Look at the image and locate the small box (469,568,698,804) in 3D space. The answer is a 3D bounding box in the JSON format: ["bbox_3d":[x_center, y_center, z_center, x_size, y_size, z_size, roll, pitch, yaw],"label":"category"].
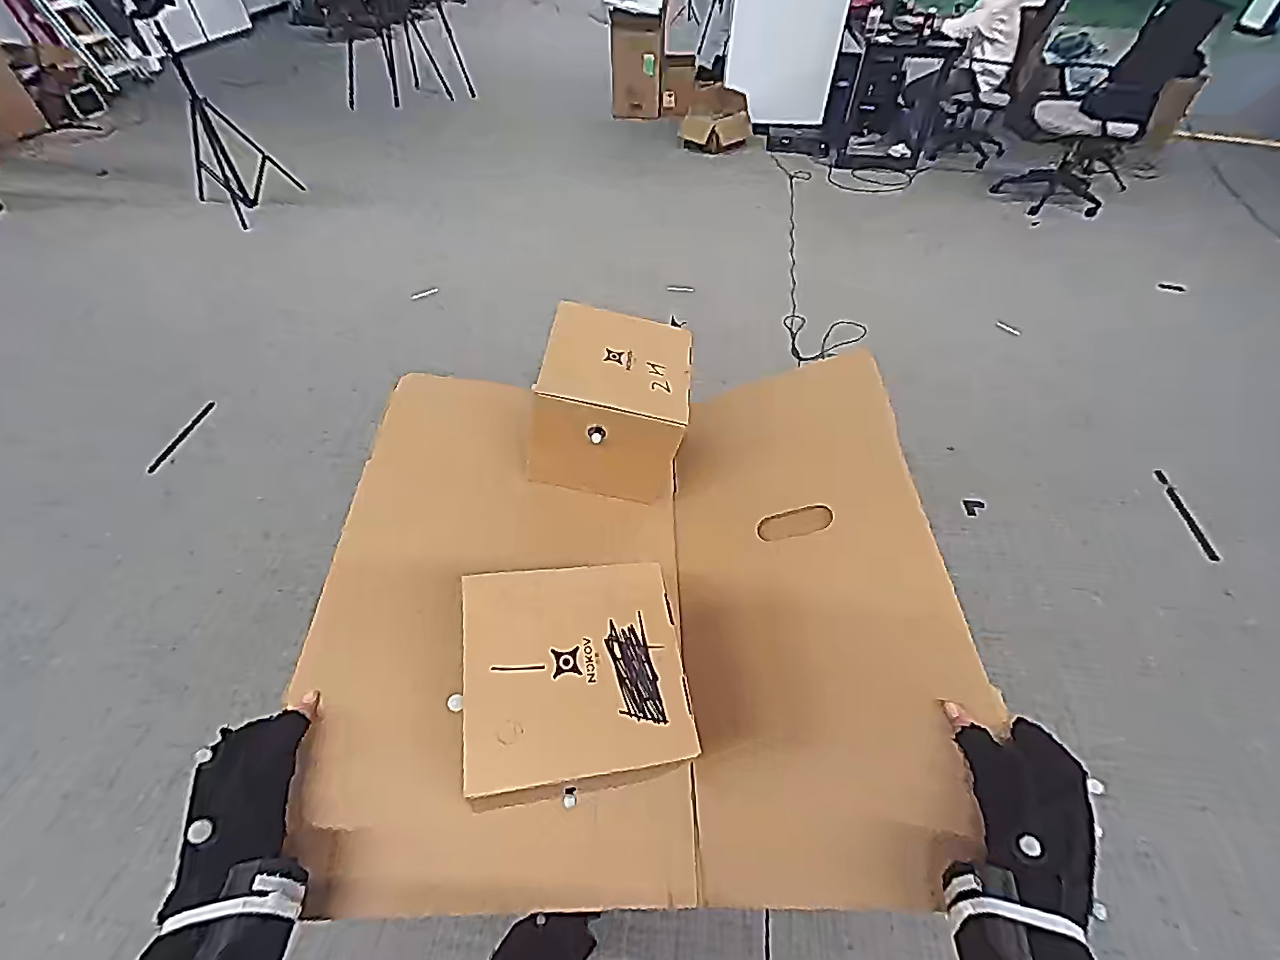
[{"bbox_3d":[-0.066,0.194,0.508,0.179,0.176,0.168,-1,56,-15],"label":"small box"}]

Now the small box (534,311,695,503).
[{"bbox_3d":[-0.037,-0.089,0.716,0.179,0.176,0.168,13,54,-7],"label":"small box"}]
